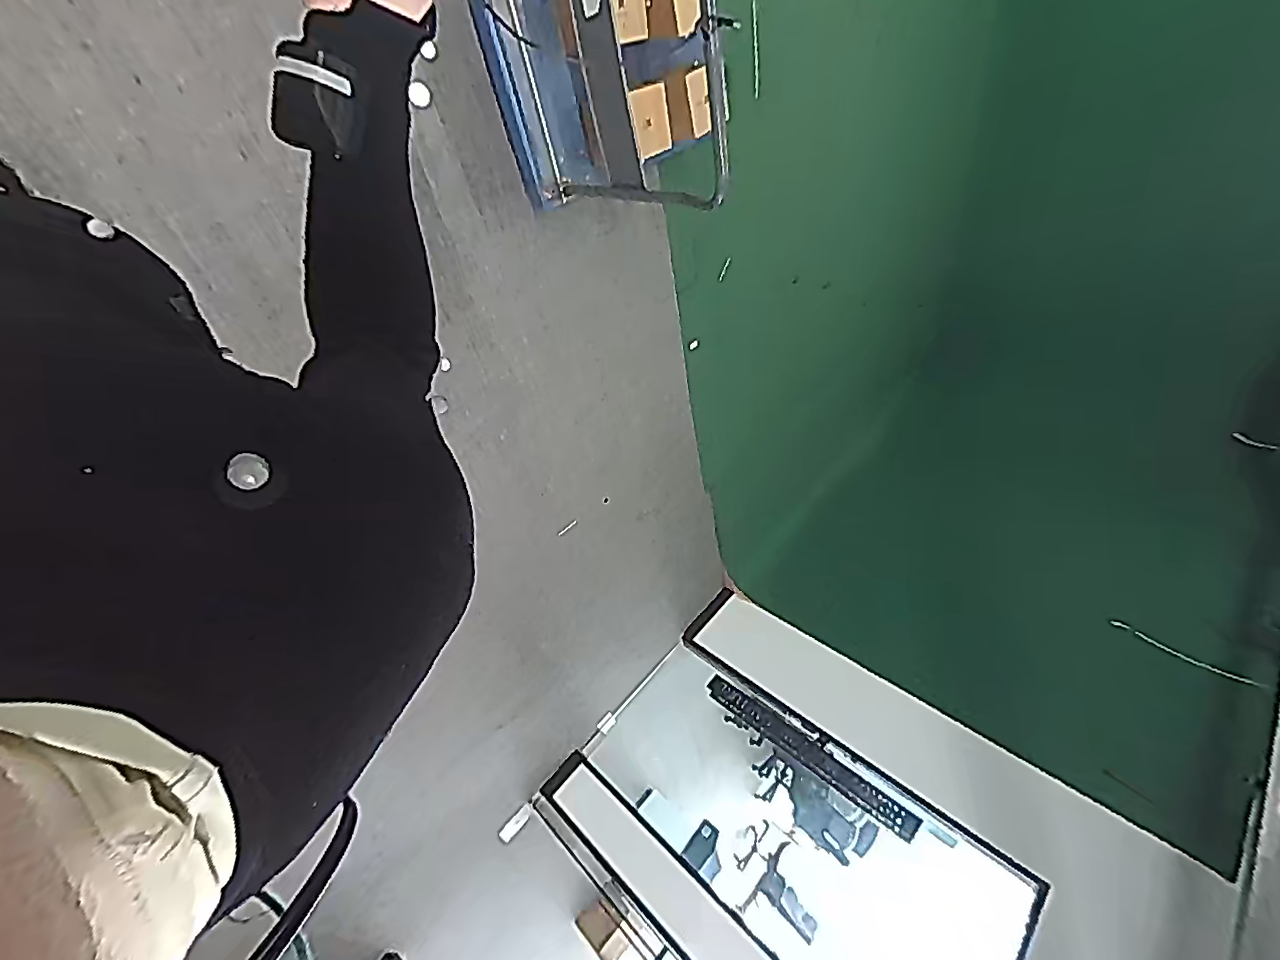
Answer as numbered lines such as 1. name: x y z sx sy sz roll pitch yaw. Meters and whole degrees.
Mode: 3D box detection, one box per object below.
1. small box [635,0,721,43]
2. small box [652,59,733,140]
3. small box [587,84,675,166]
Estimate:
1. small box: 0.098 -1.357 1.515 0.179 0.176 0.168 -43 138 -24
2. small box: 0.162 -1.182 1.684 0.179 0.176 0.168 -42 136 -23
3. small box: -0.025 -1.027 1.565 0.179 0.176 0.168 -38 135 -26
